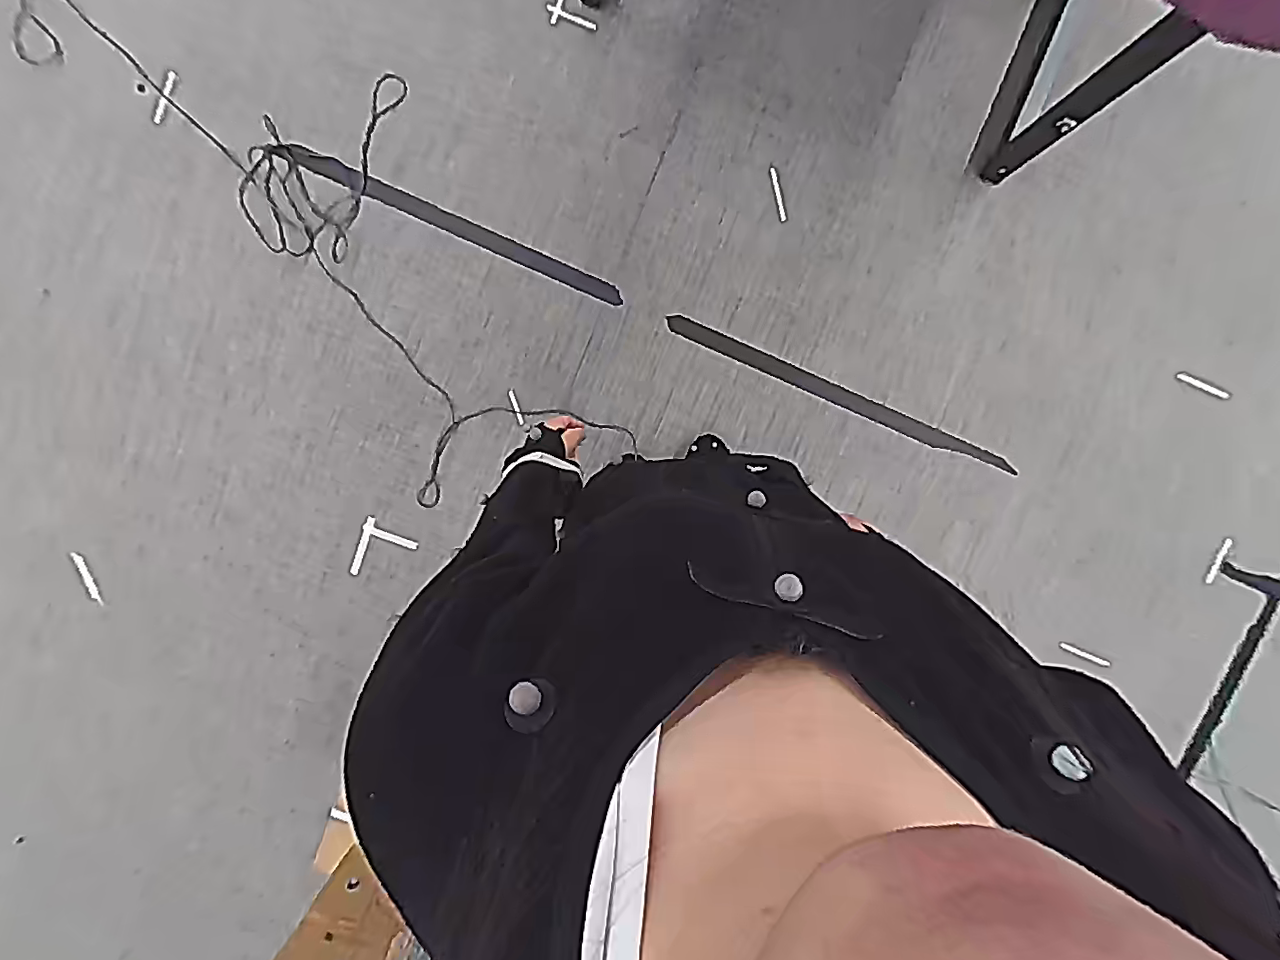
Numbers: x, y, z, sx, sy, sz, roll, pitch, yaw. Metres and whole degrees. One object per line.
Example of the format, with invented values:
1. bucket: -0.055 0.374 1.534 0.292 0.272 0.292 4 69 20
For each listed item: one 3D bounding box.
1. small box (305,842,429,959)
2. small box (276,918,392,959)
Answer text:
1. small box: -0.526 0.841 1.029 0.168 0.176 0.179 18 95 0
2. small box: -0.524 0.860 0.865 0.168 0.176 0.179 14 94 0
